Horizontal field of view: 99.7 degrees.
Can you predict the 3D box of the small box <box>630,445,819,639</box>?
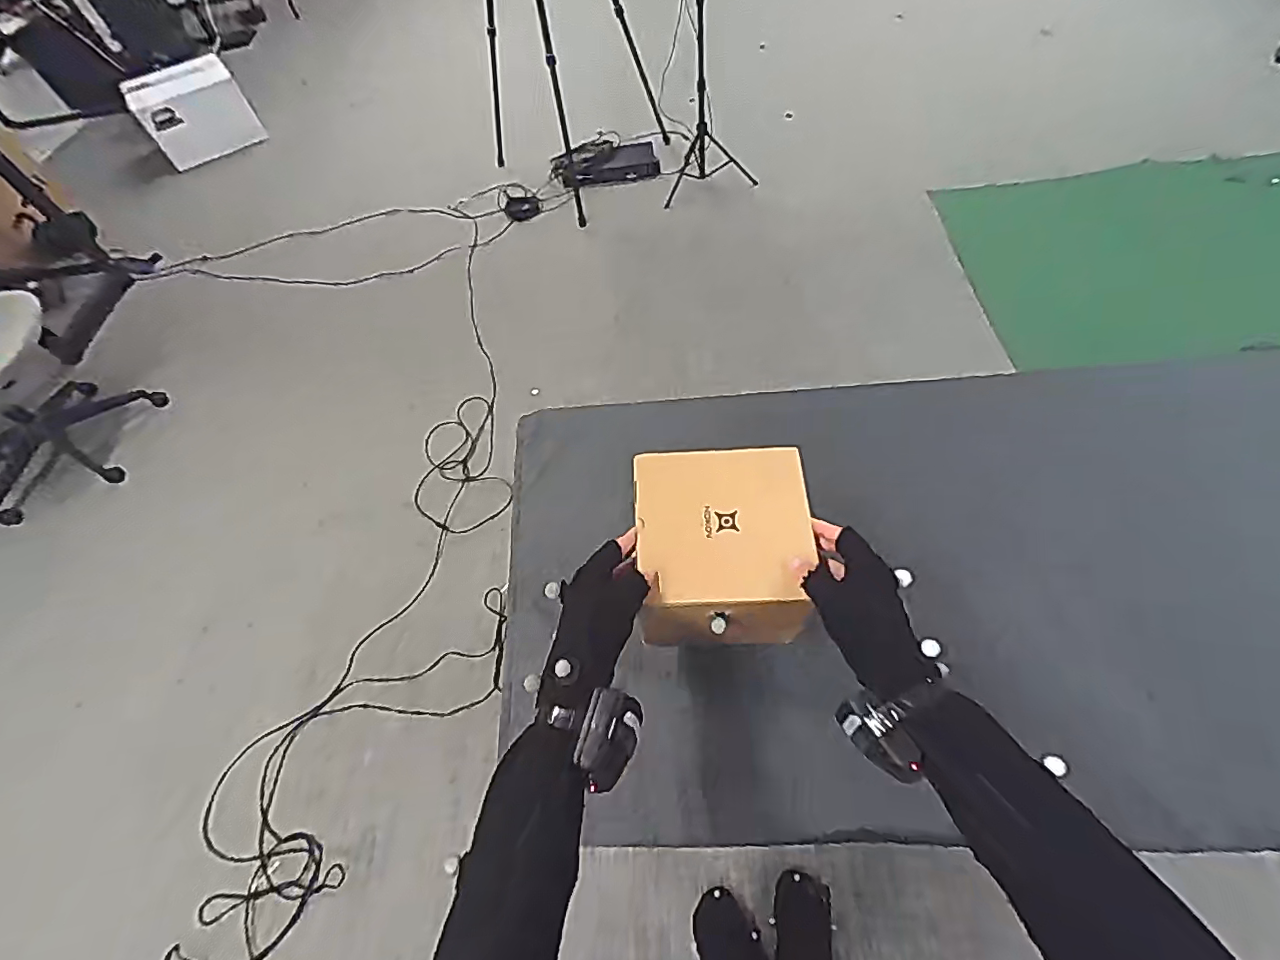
[{"bbox_3d":[0.082,0.076,0.605,0.179,0.176,0.168,-3,60,4],"label":"small box"}]
